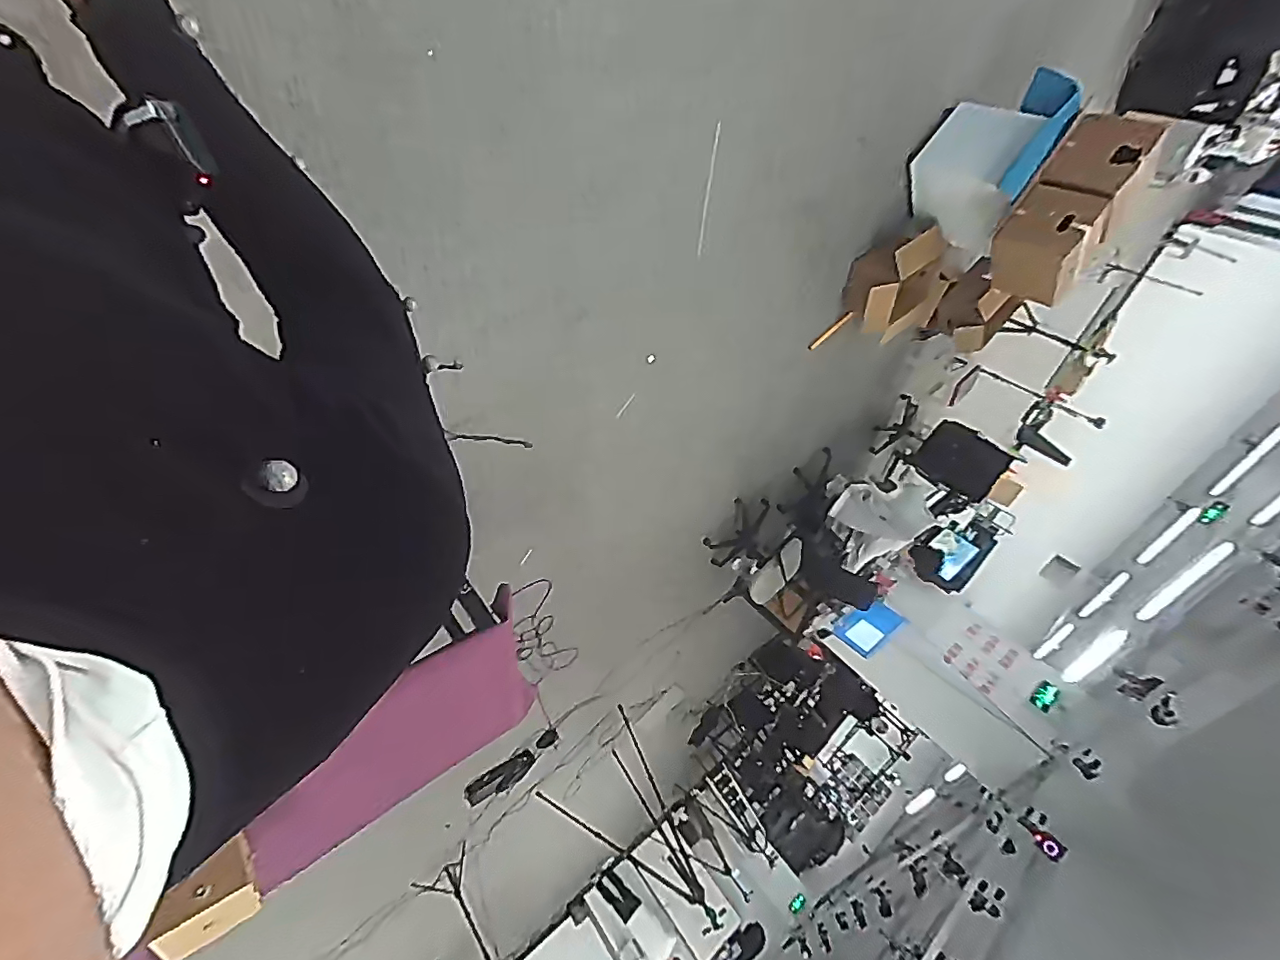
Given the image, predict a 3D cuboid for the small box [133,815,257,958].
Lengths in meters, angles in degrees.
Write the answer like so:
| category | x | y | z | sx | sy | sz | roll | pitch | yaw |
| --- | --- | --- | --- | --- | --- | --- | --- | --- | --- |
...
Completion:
| category | x | y | z | sx | sy | sz | roll | pitch | yaw |
| --- | --- | --- | --- | --- | --- | --- | --- | --- | --- |
| small box | -0.999 | 0.905 | 1.220 | 0.179 | 0.176 | 0.168 | -17 | 137 | -39 |
